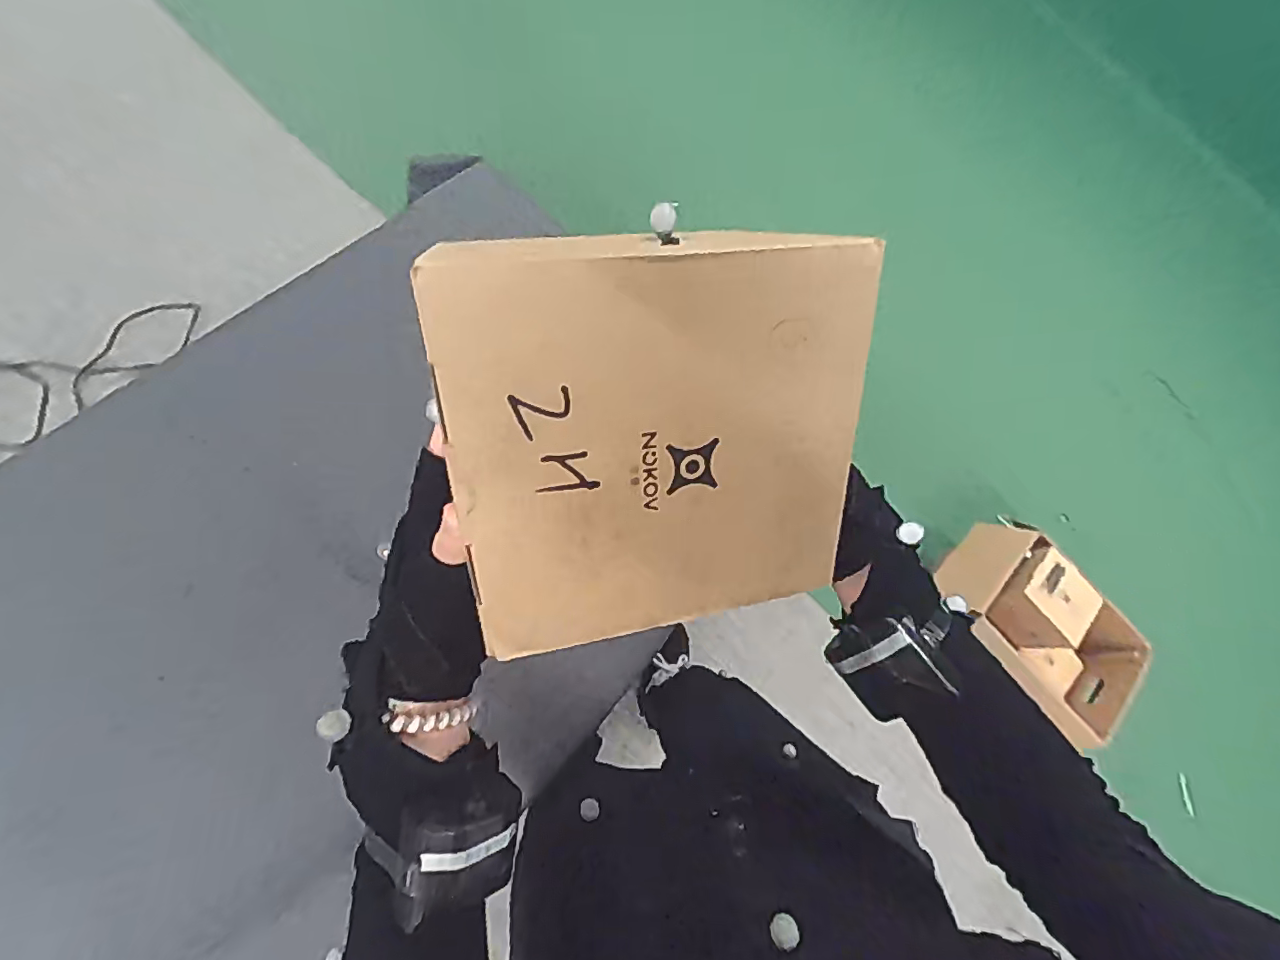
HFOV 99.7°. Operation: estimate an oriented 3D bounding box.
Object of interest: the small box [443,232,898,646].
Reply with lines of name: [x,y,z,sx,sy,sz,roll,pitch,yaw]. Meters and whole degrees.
small box: [-0.002,-0.043,0.296,0.179,0.176,0.168,-8,116,-13]
